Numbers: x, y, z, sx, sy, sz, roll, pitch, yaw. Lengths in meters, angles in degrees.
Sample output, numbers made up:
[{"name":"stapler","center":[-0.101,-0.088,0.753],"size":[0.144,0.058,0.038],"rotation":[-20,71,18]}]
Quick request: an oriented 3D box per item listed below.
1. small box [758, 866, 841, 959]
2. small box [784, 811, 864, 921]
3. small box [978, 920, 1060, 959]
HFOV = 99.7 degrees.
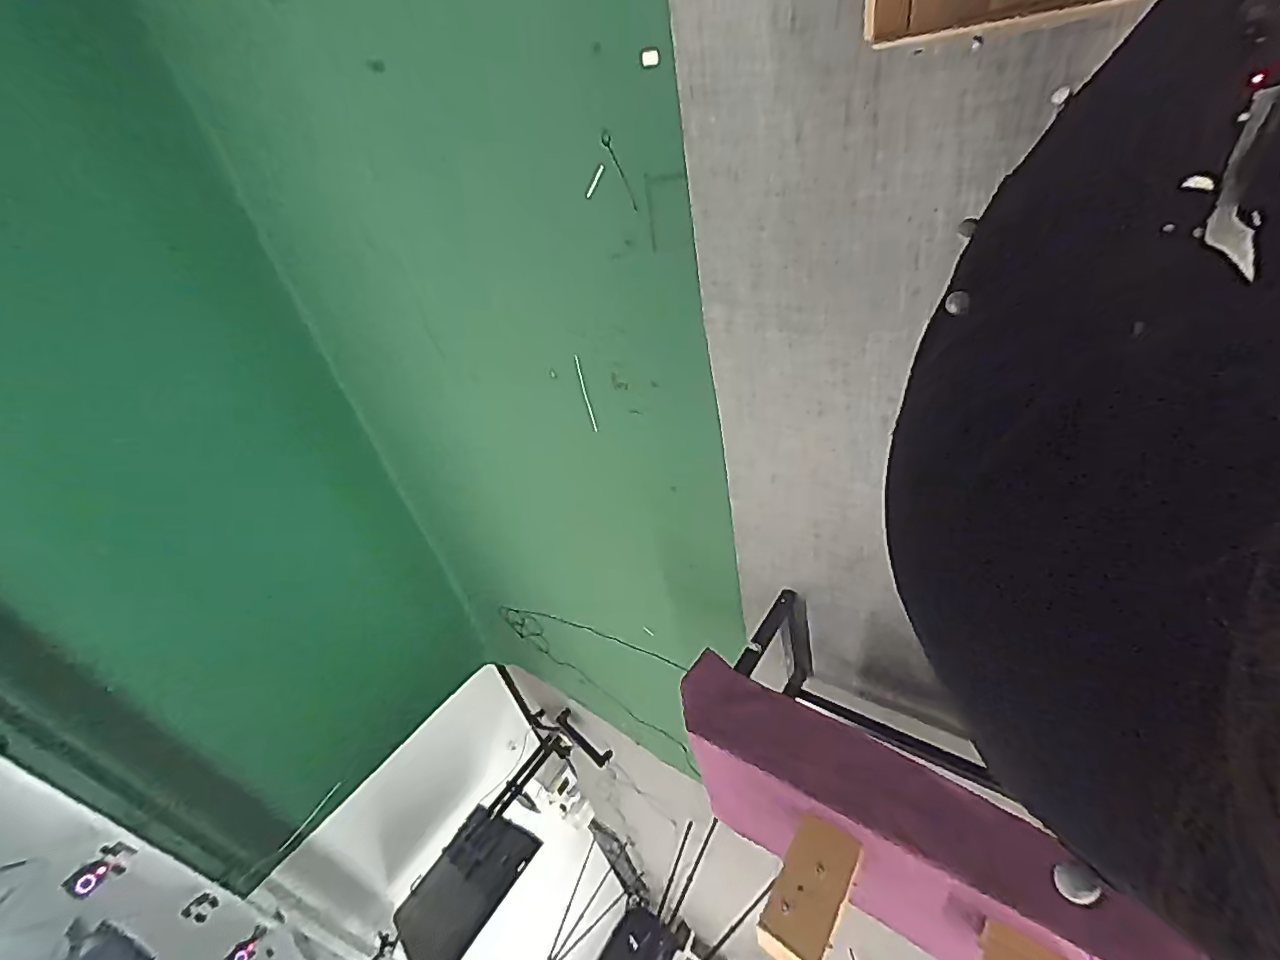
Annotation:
[{"name":"small box","center":[0.436,1.206,1.477],"size":[0.168,0.176,0.179],"rotation":[20,137,34]},{"name":"small box","center":[0.533,1.110,1.566],"size":[0.179,0.176,0.168],"rotation":[19,135,34]},{"name":"small box","center":[0.898,1.198,1.271],"size":[0.179,0.176,0.168],"rotation":[16,134,38]}]
